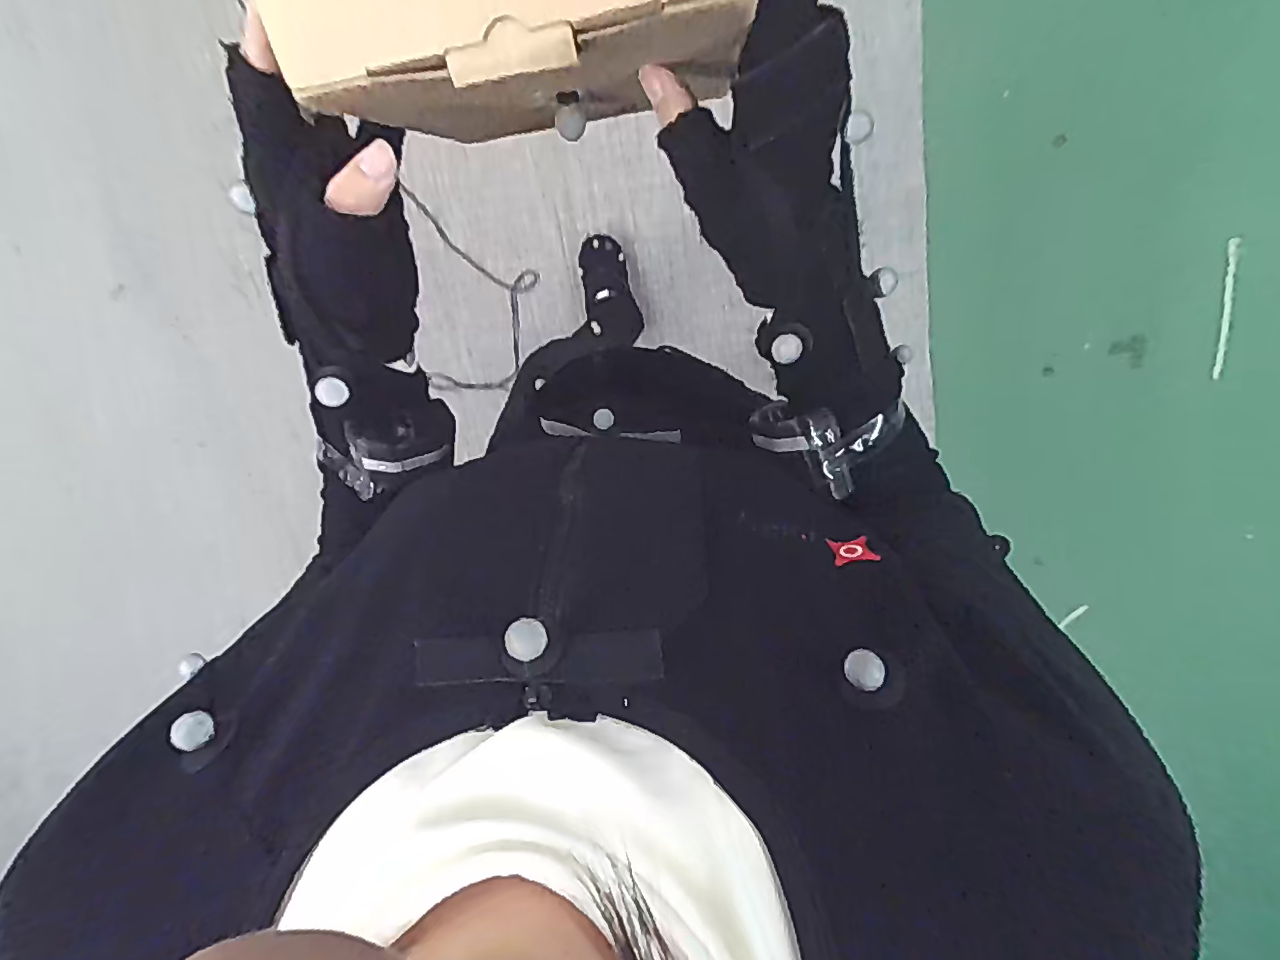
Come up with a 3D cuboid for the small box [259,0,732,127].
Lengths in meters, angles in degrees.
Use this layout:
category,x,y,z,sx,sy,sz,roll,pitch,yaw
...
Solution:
category,x,y,z,sx,sy,sz,roll,pitch,yaw
small box,-0.050,-0.259,0.218,0.168,0.176,0.179,-5,117,10
